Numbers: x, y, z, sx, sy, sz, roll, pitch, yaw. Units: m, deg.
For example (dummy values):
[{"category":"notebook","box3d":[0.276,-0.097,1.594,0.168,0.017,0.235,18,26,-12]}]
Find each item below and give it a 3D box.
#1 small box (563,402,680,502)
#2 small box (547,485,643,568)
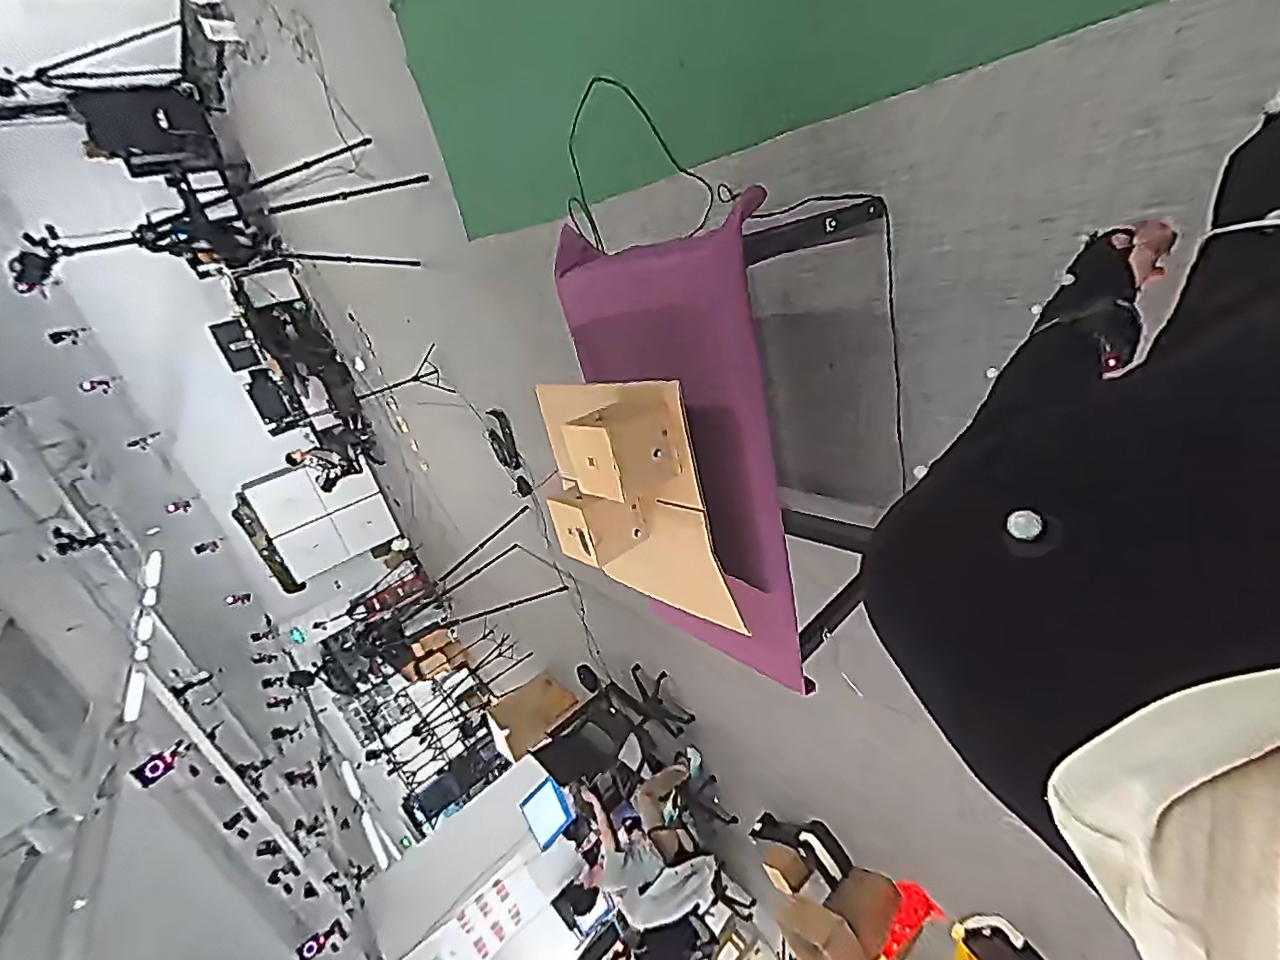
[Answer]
[{"category":"small box","box3d":[-0.039,-0.069,1.193,0.179,0.176,0.168,11,121,49]},{"category":"small box","box3d":[-0.110,0.101,1.405,0.179,0.176,0.168,12,122,51]}]
